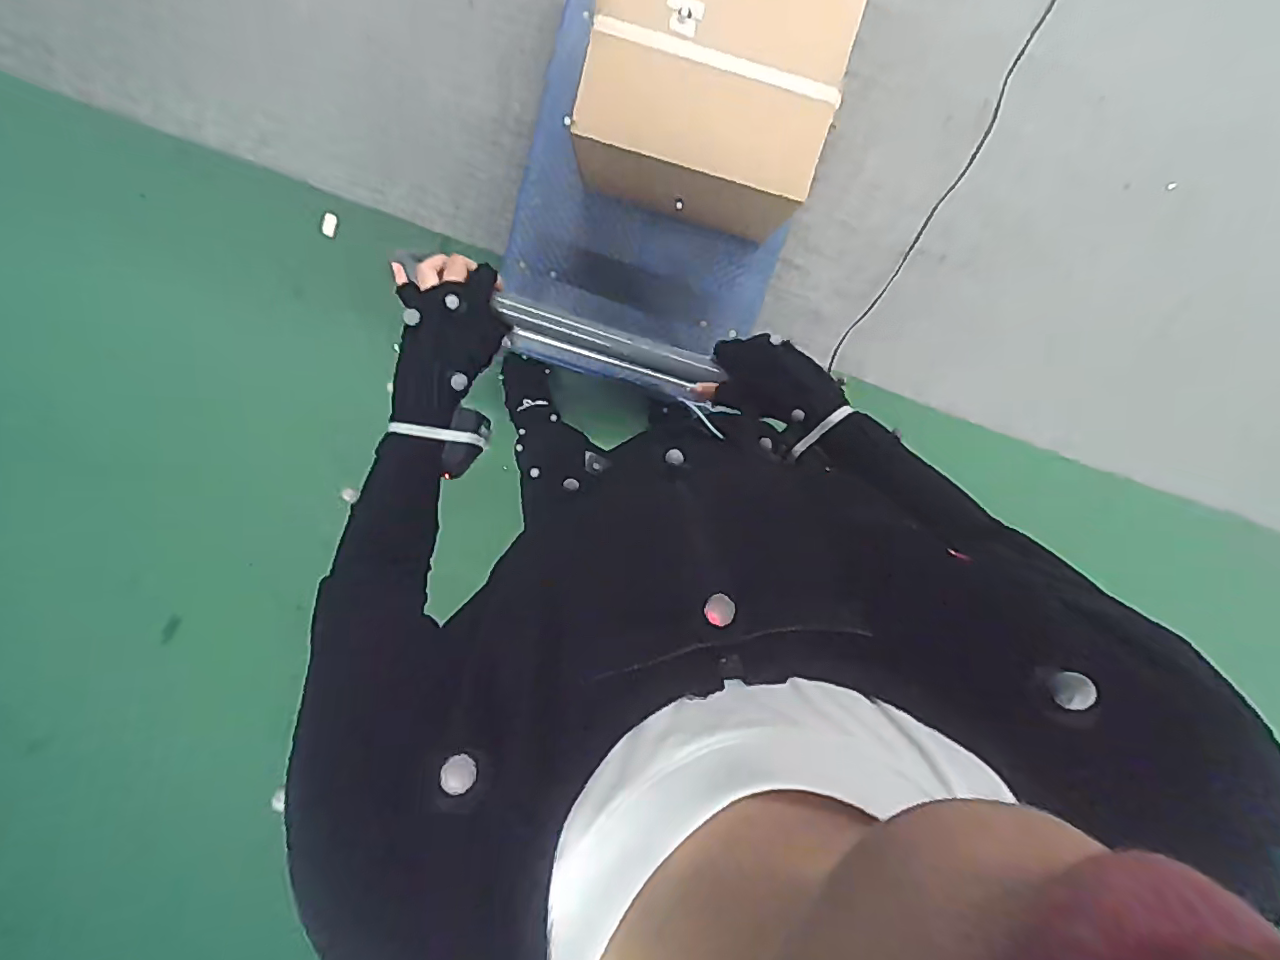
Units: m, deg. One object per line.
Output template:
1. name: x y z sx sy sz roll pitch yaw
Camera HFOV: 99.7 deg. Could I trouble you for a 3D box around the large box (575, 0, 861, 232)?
1. large box: 0.123 -0.692 0.999 0.408 0.320 0.320 14 101 -3
